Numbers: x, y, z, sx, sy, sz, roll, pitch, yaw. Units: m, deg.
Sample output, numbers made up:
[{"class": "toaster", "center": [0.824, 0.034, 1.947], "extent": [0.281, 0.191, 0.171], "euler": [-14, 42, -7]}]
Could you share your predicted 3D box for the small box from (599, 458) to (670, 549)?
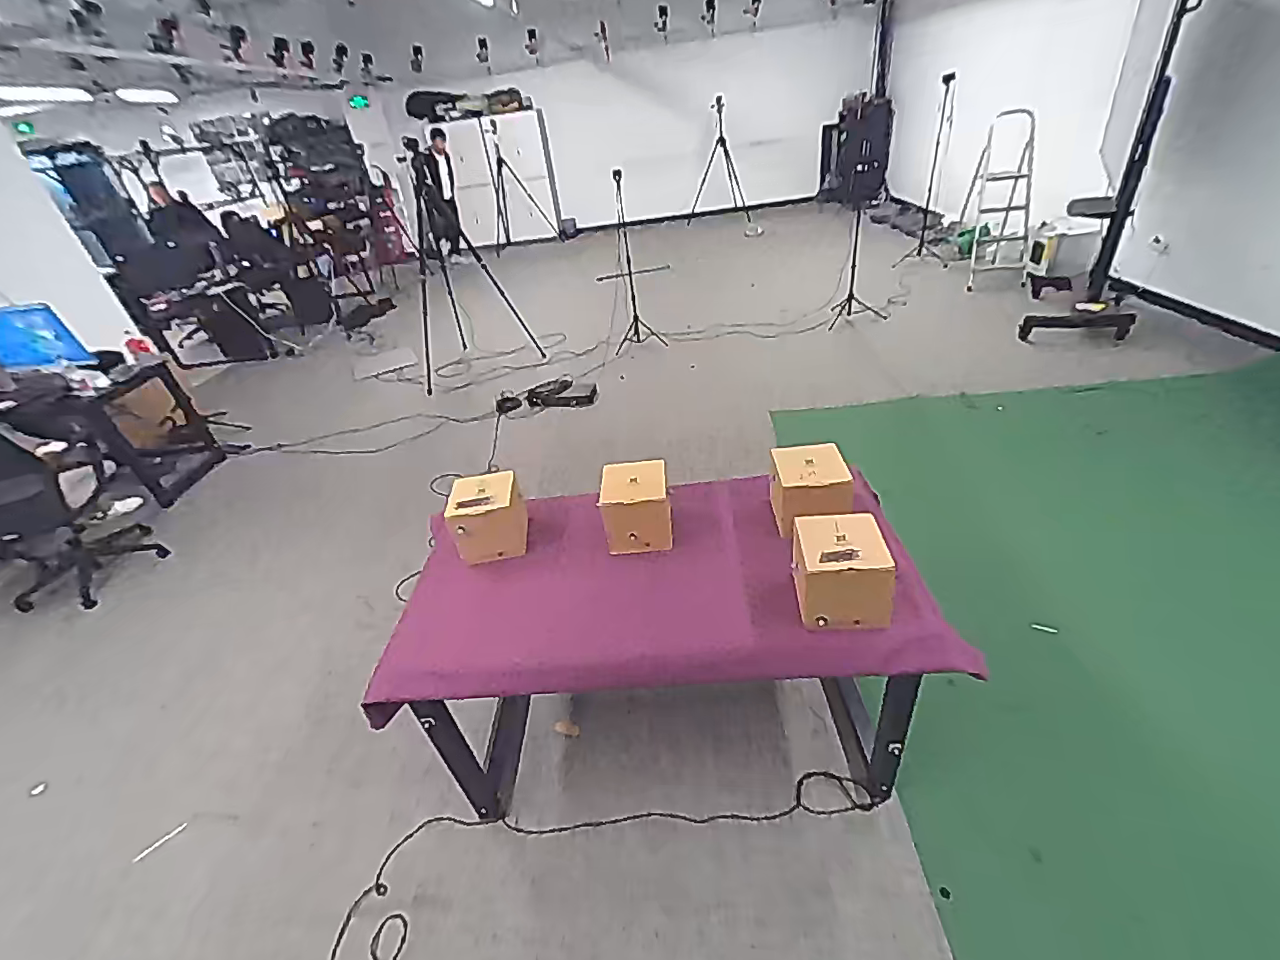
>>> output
[{"class": "small box", "center": [-0.011, 0.061, 1.418], "extent": [0.168, 0.176, 0.179], "euler": [-5, 36, 4]}]

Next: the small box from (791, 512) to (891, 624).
[{"class": "small box", "center": [0.415, 0.189, 1.142], "extent": [0.168, 0.176, 0.179], "euler": [-3, 33, 8]}]

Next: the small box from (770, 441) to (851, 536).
[{"class": "small box", "center": [0.426, 0.022, 1.381], "extent": [0.168, 0.176, 0.179], "euler": [-5, 35, 6]}]
